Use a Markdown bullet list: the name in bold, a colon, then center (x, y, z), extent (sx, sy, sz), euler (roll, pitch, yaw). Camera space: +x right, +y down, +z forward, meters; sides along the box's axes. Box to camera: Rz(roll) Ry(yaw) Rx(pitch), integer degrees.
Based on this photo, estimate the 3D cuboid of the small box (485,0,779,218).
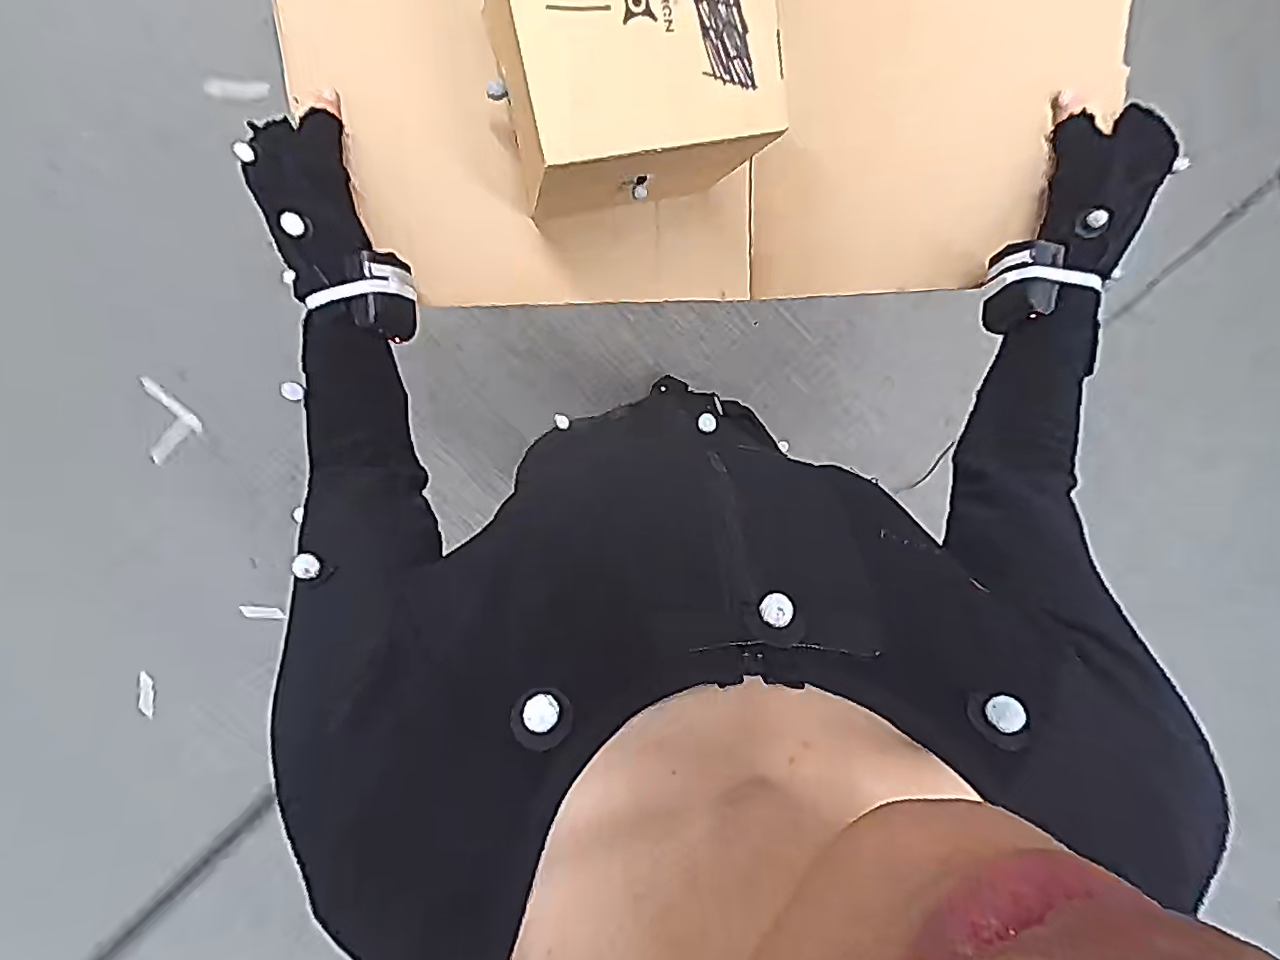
- **small box**: center (-0.017, -0.322, 0.424), extent (0.179, 0.176, 0.168), euler (-16, 107, -10)
